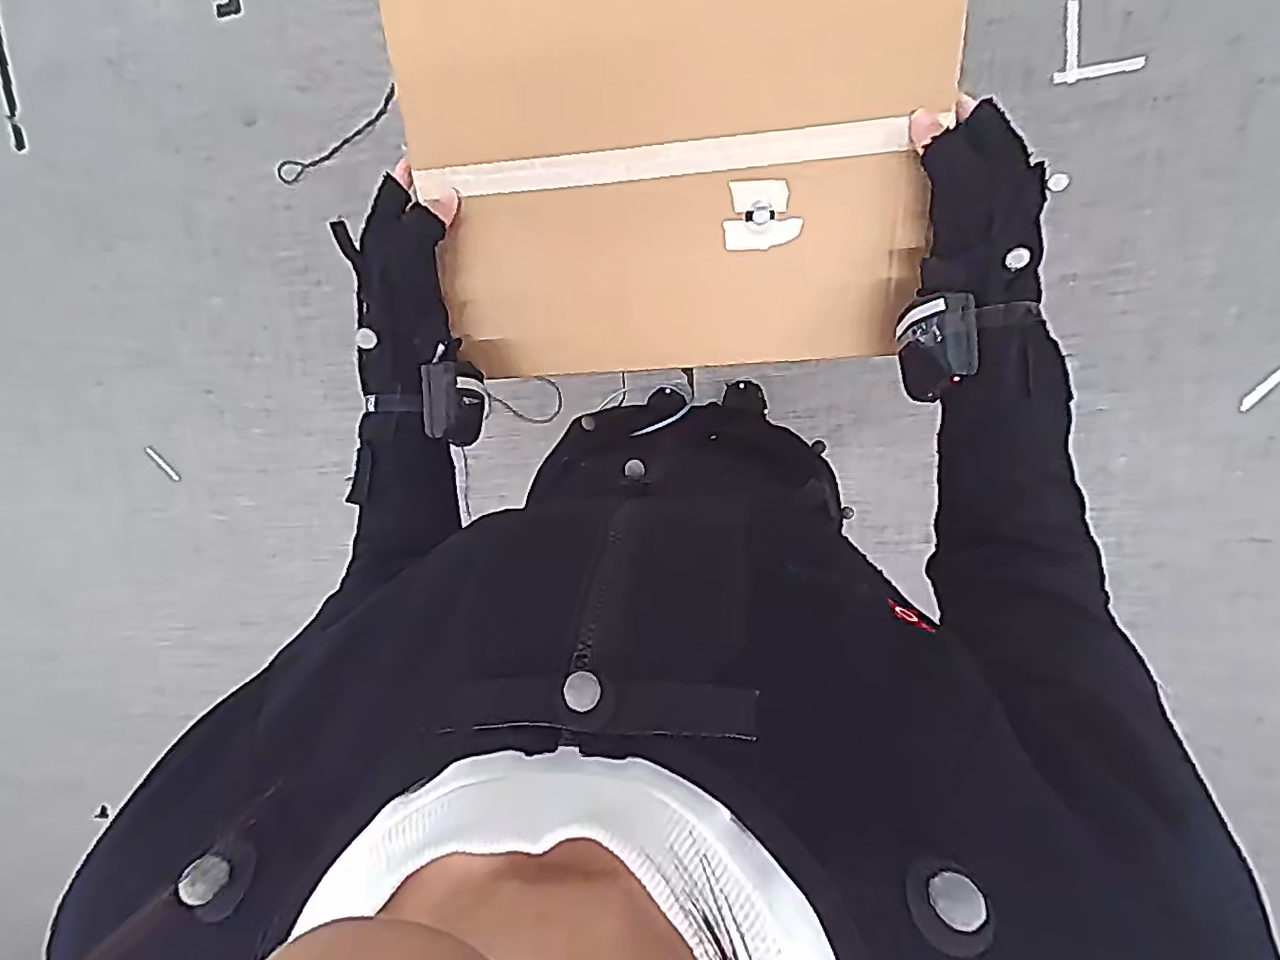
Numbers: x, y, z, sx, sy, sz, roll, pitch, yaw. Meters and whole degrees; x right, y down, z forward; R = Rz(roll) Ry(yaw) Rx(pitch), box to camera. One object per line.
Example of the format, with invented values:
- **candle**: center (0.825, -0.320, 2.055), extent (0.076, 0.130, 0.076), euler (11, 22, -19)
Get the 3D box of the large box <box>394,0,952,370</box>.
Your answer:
- **large box**: center (0.035, -0.307, 0.558), extent (0.408, 0.320, 0.320), euler (-3, 111, 5)
